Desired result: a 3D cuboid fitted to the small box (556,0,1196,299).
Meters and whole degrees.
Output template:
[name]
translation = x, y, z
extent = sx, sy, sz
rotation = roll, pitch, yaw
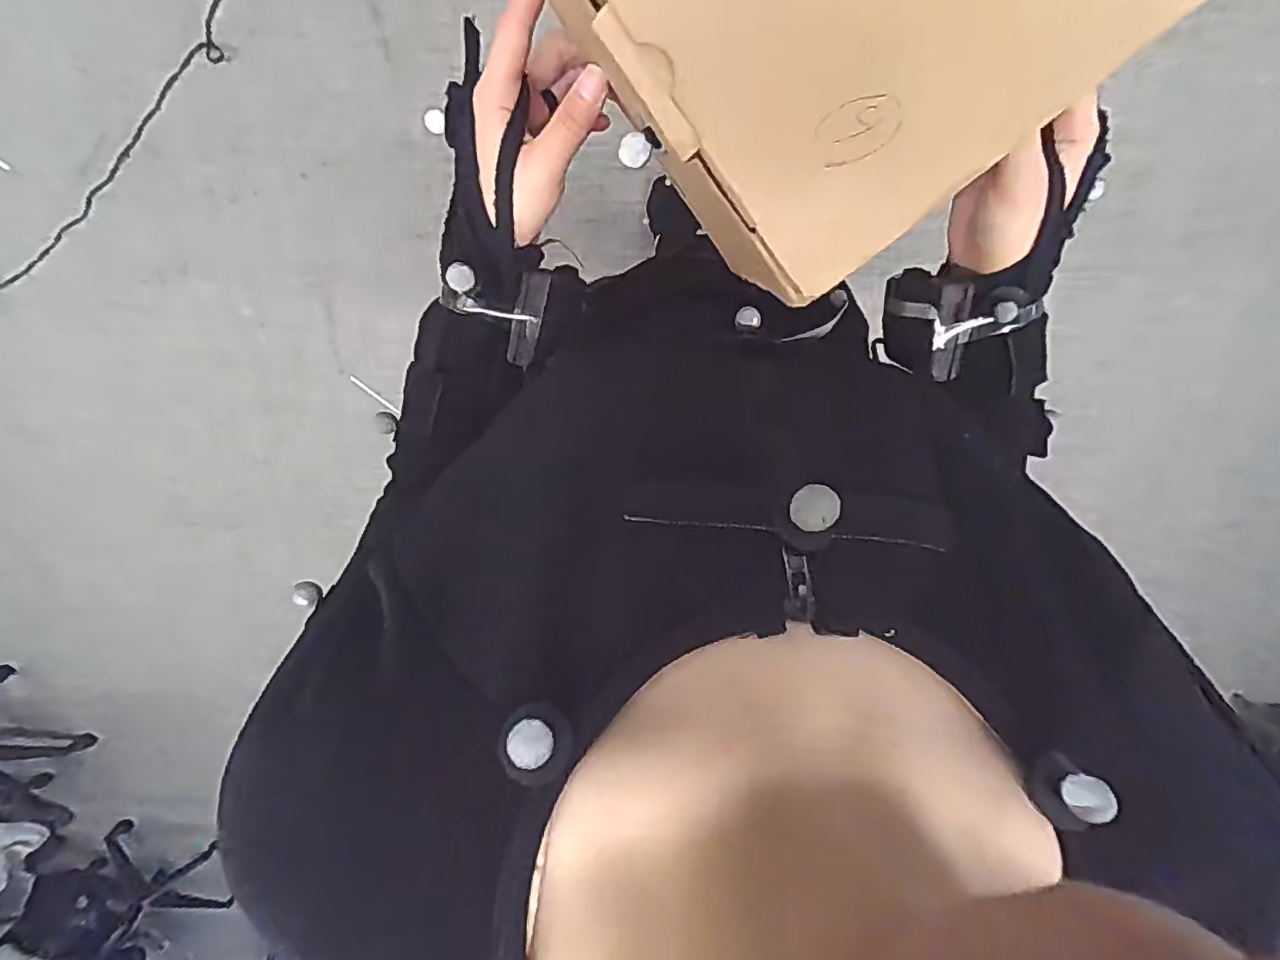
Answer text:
[small box]
translation = 0.071, -0.197, 0.208
extent = 0.179, 0.176, 0.168
rotation = -36, 108, 18
